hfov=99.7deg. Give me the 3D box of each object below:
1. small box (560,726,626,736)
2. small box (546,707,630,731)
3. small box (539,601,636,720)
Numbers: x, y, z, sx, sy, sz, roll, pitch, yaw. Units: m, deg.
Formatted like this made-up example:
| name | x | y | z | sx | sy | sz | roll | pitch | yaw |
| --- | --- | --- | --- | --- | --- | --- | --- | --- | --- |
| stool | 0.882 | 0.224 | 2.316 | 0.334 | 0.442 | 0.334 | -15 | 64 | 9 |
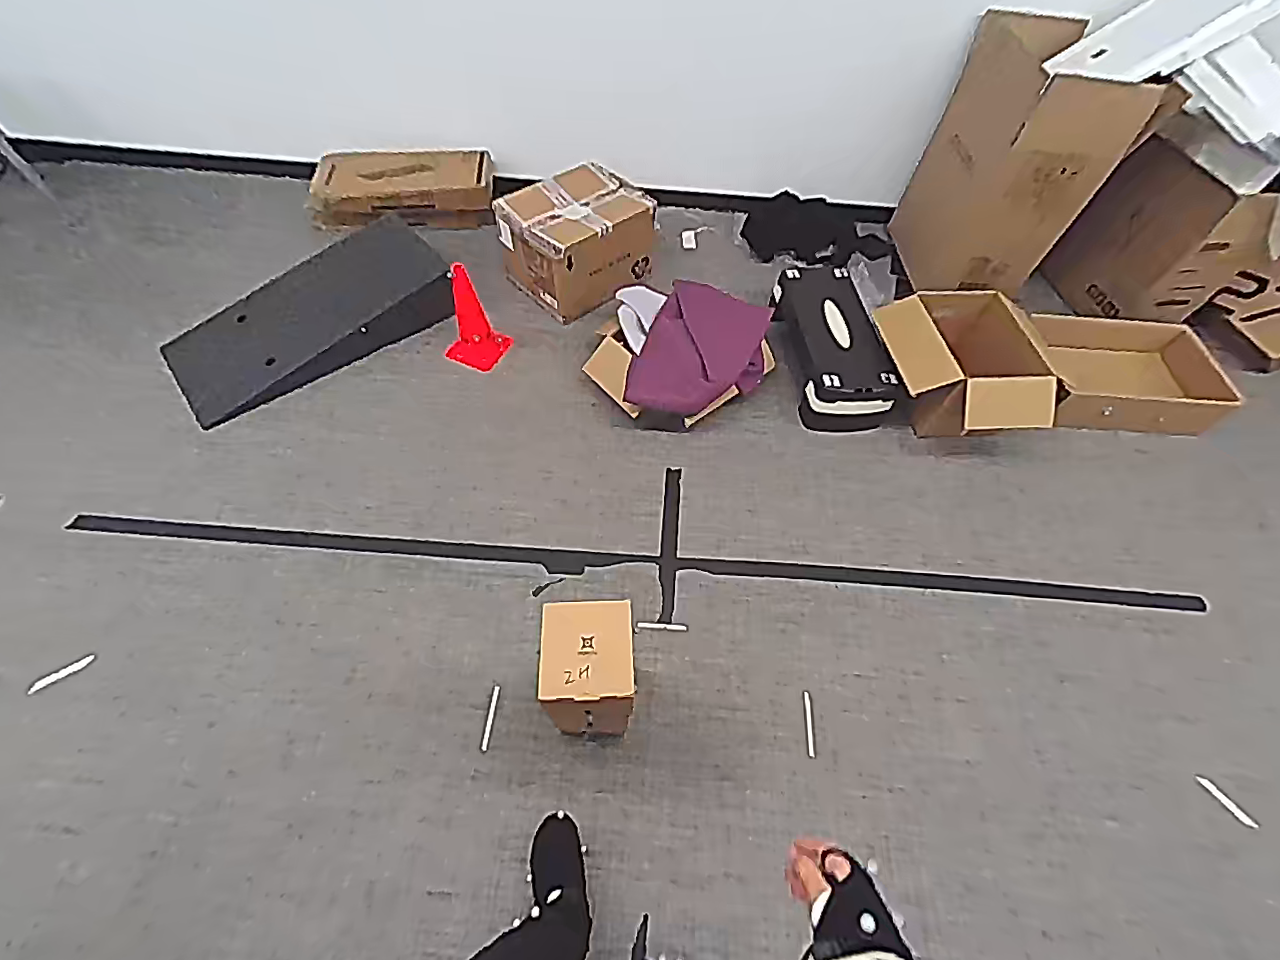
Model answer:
| name | x | y | z | sx | sy | sz | roll | pitch | yaw |
| --- | --- | --- | --- | --- | --- | --- | --- | --- | --- |
| small box | -0.110 | 0.512 | 1.311 | 0.168 | 0.176 | 0.179 | 2 | 57 | 0 |
| small box | -0.100 | 0.435 | 1.165 | 0.168 | 0.176 | 0.179 | 3 | 57 | 0 |
| small box | -0.095 | 0.344 | 1.026 | 0.168 | 0.176 | 0.179 | -2 | 56 | -2 |
